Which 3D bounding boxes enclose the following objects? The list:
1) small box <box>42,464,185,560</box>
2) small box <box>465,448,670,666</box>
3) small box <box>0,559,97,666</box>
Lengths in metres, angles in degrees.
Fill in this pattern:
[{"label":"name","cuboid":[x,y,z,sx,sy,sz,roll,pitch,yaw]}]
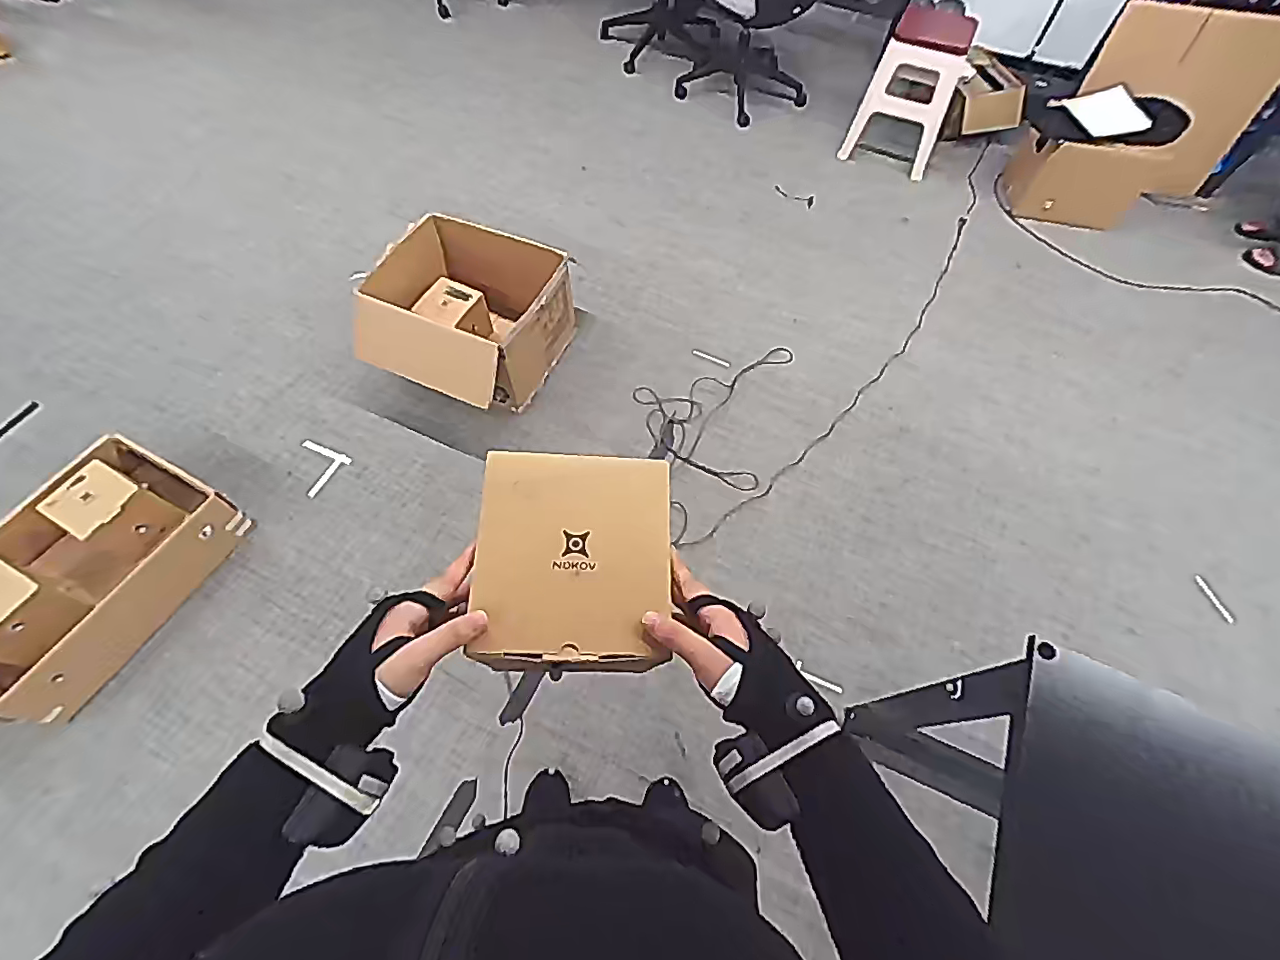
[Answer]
[{"label":"small box","cuboid":[-1.373,0.092,1.426,0.179,0.176,0.168,28,65,11]},{"label":"small box","cuboid":[-0.066,0.085,0.533,0.168,0.176,0.179,2,68,-6]},{"label":"small box","cuboid":[-1.492,0.323,1.297,0.168,0.176,0.179,25,62,9]}]
